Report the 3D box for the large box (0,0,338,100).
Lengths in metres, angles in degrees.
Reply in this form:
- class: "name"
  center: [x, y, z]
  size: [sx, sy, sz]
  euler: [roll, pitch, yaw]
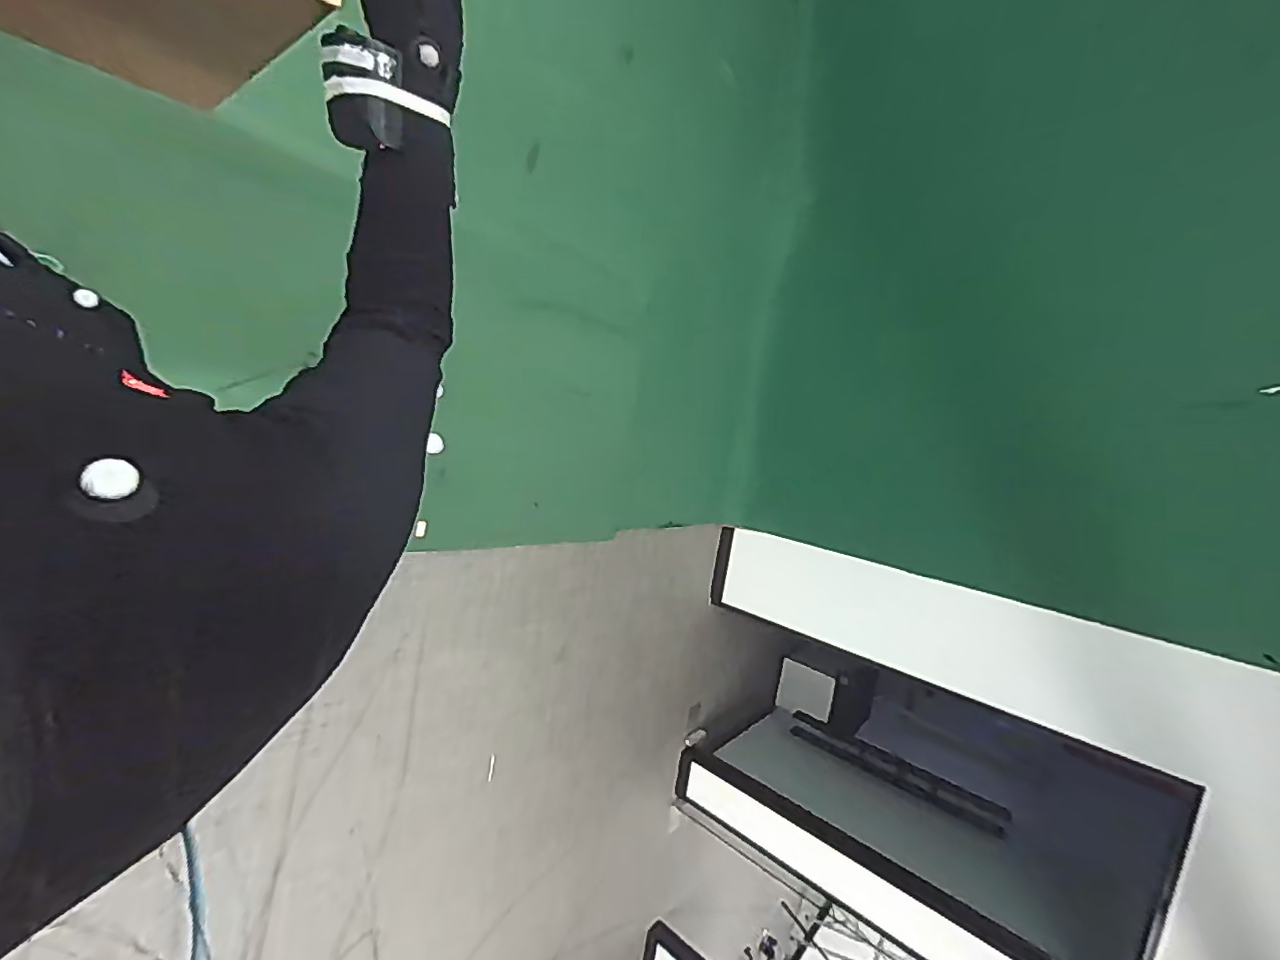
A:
- class: "large box"
  center: [-0.414, -0.480, 0.268]
  size: [0.408, 0.320, 0.320]
  euler: [-4, 105, -51]
